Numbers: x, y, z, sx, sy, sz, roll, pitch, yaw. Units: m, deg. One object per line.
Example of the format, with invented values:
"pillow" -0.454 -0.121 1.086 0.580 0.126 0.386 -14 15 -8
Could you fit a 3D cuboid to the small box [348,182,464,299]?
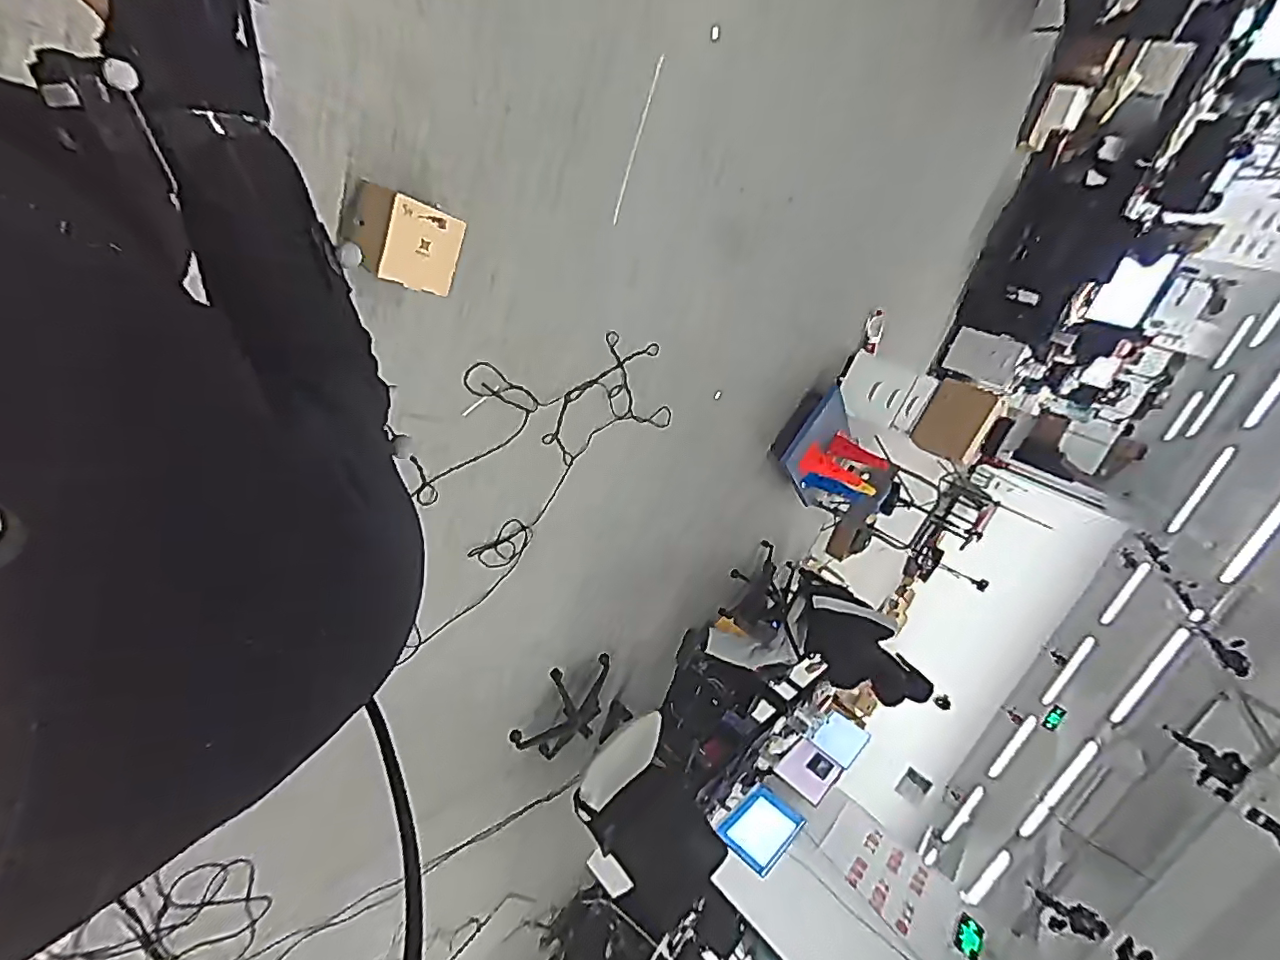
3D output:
"small box" -0.531 -0.537 1.218 0.168 0.176 0.179 1 117 -53
